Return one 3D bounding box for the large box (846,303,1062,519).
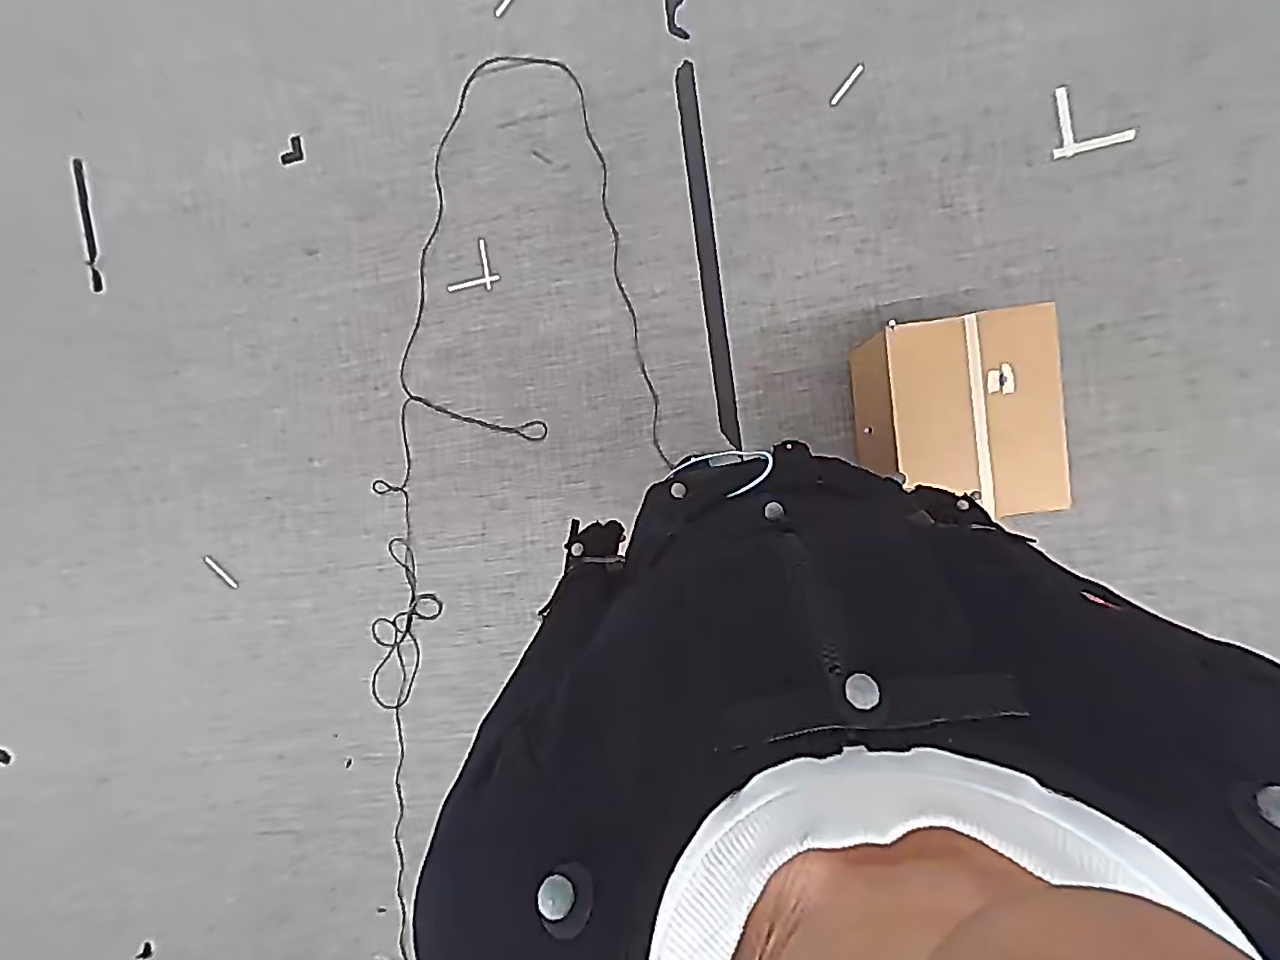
[{"bbox_3d":[0.683,-0.140,1.234,0.320,0.320,0.408,-7,92,7],"label":"large box"}]
